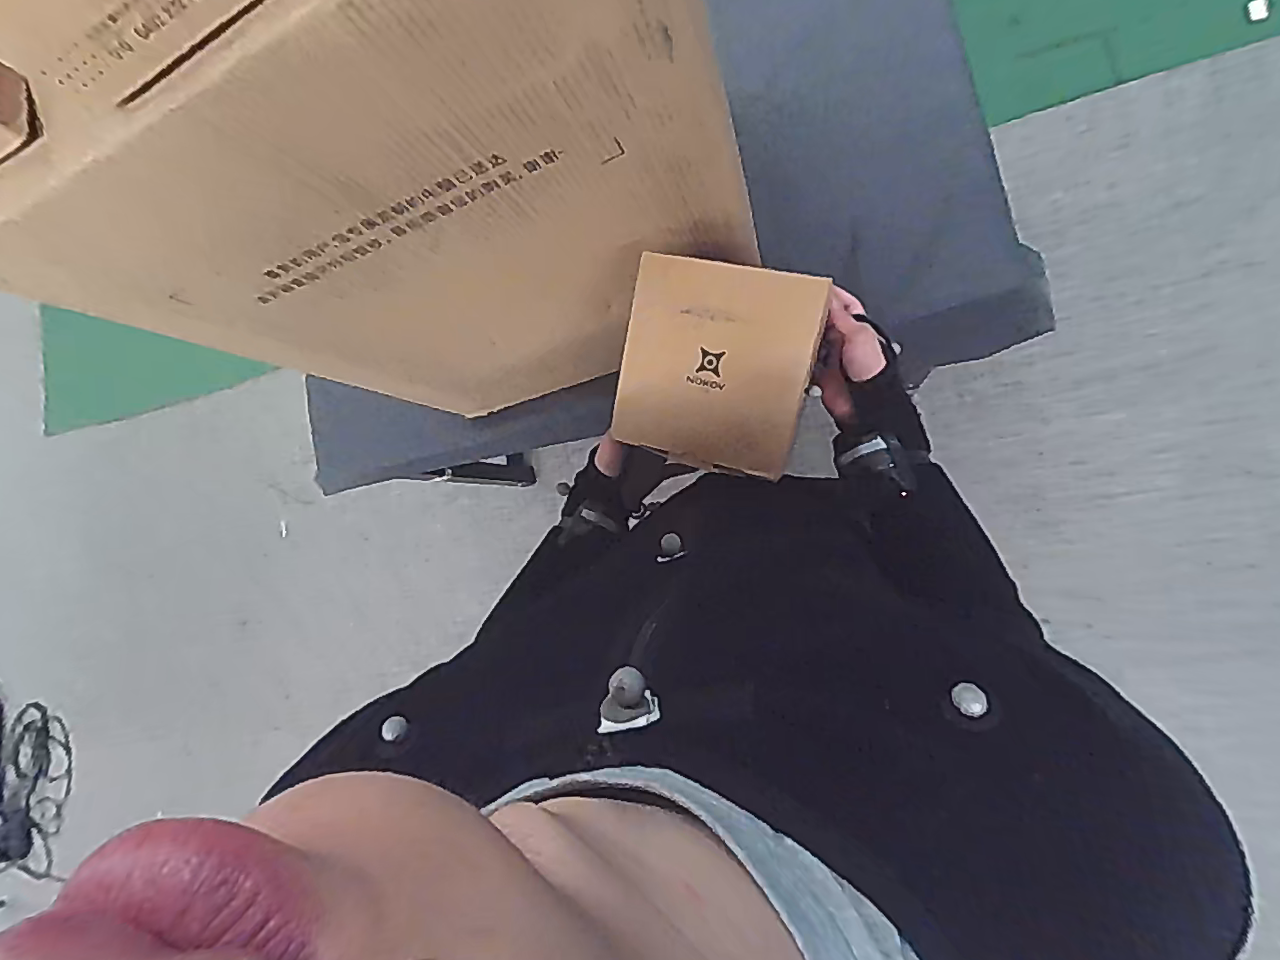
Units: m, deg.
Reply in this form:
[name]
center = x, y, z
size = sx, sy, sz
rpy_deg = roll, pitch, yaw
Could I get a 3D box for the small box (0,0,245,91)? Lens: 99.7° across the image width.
[small box]
center = -0.261, -0.306, 0.198
size = 0.168, 0.176, 0.179
rpy_deg = -18, 84, 16
